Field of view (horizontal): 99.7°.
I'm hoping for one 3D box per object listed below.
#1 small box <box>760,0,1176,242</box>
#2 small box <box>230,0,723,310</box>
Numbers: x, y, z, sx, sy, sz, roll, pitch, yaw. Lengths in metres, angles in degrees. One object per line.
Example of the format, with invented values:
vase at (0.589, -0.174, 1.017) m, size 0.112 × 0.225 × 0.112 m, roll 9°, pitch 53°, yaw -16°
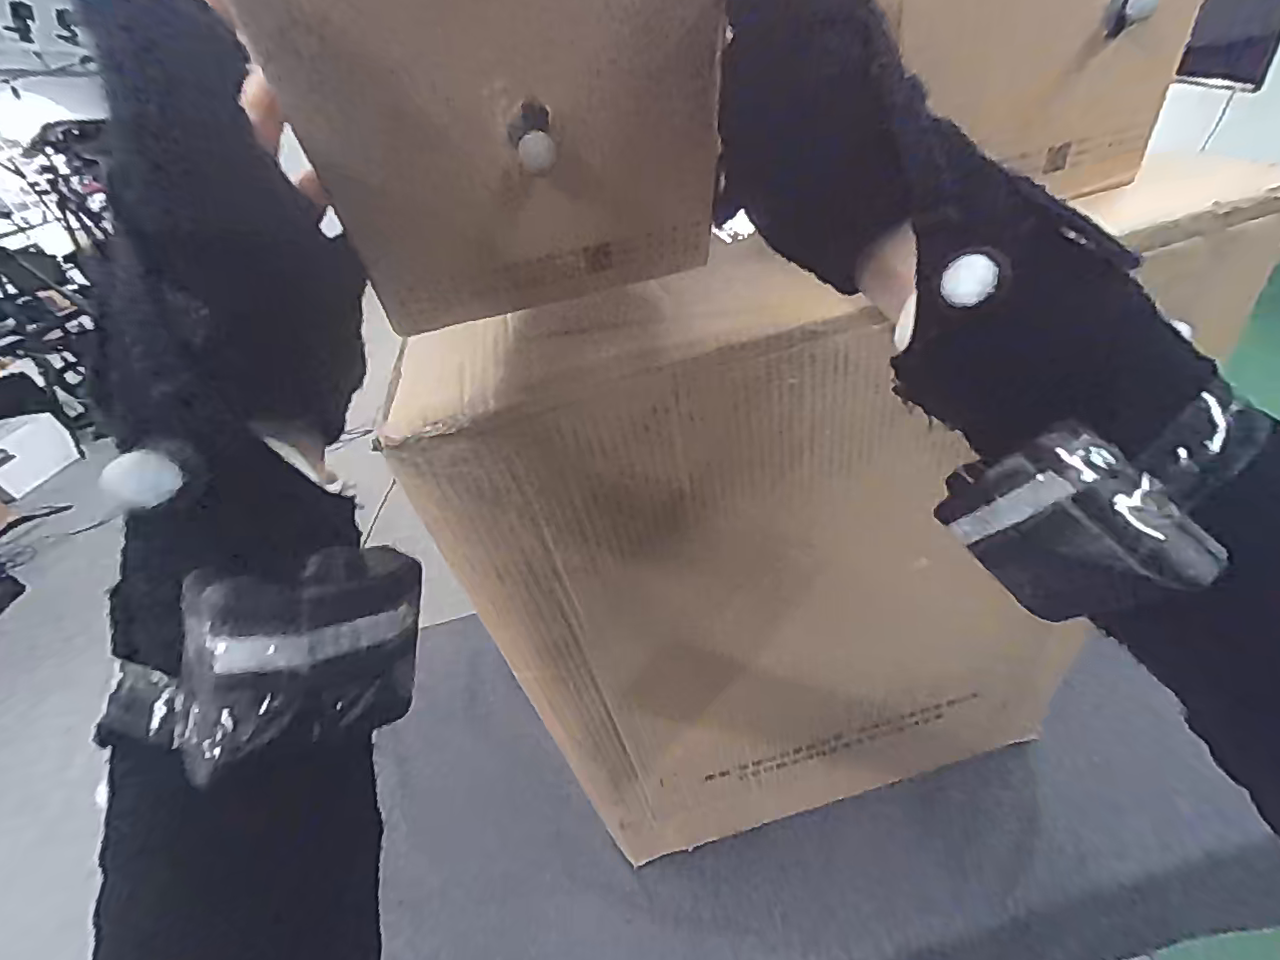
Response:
small box at (0.186, -0.262, 0.339) m, size 0.168 × 0.176 × 0.179 m, roll -14°, pitch 38°, yaw -5°
small box at (-0.065, -0.201, 0.253) m, size 0.168 × 0.176 × 0.179 m, roll -16°, pitch 58°, yaw -9°
